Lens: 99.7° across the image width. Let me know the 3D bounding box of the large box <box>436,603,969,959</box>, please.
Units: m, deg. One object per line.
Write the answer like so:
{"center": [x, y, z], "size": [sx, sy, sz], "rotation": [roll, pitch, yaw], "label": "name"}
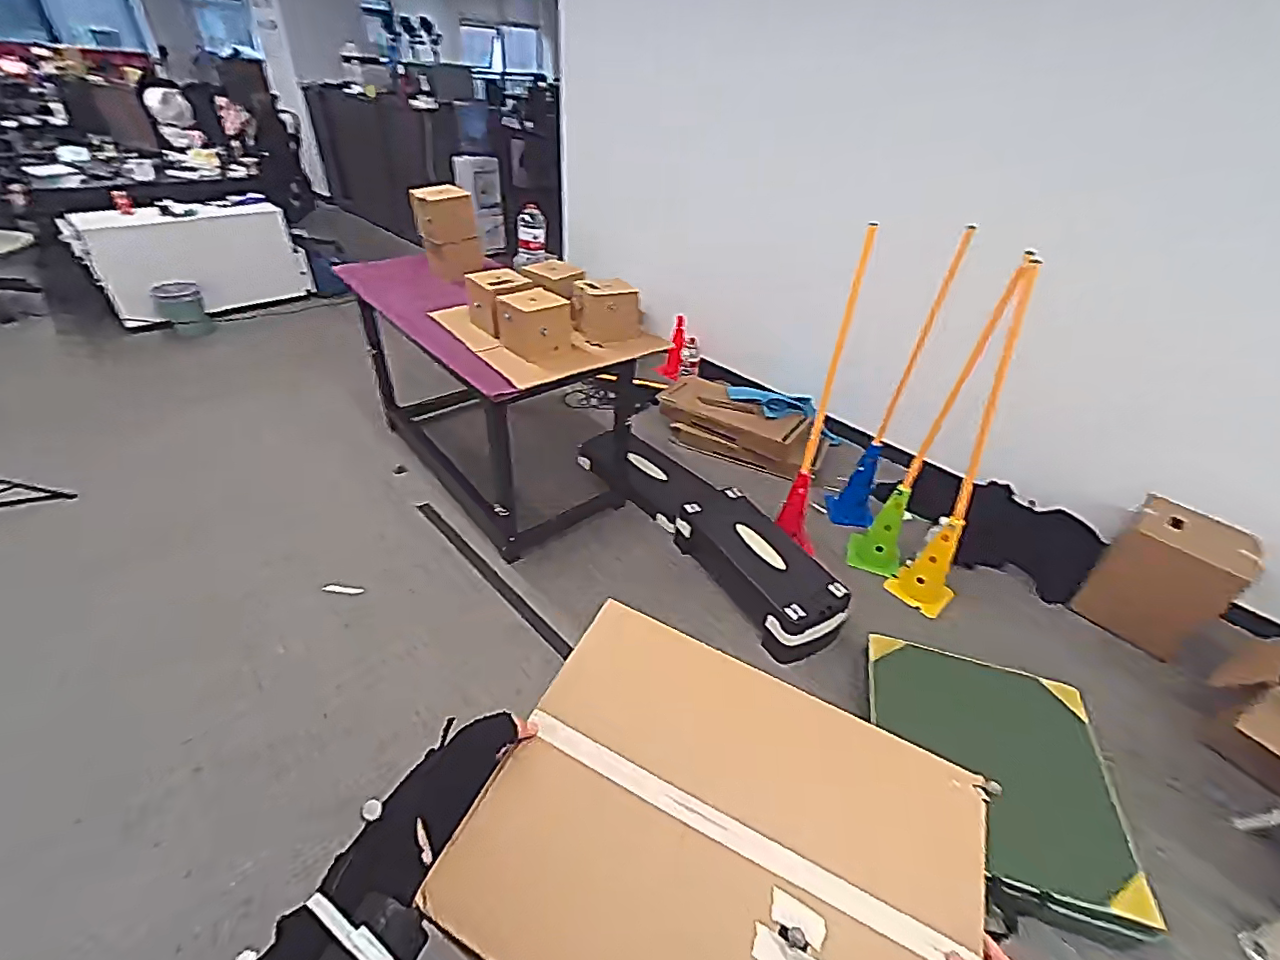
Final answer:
{"center": [0.061, 0.407, 0.576], "size": [0.408, 0.320, 0.320], "rotation": [23, 46, 15], "label": "large box"}
